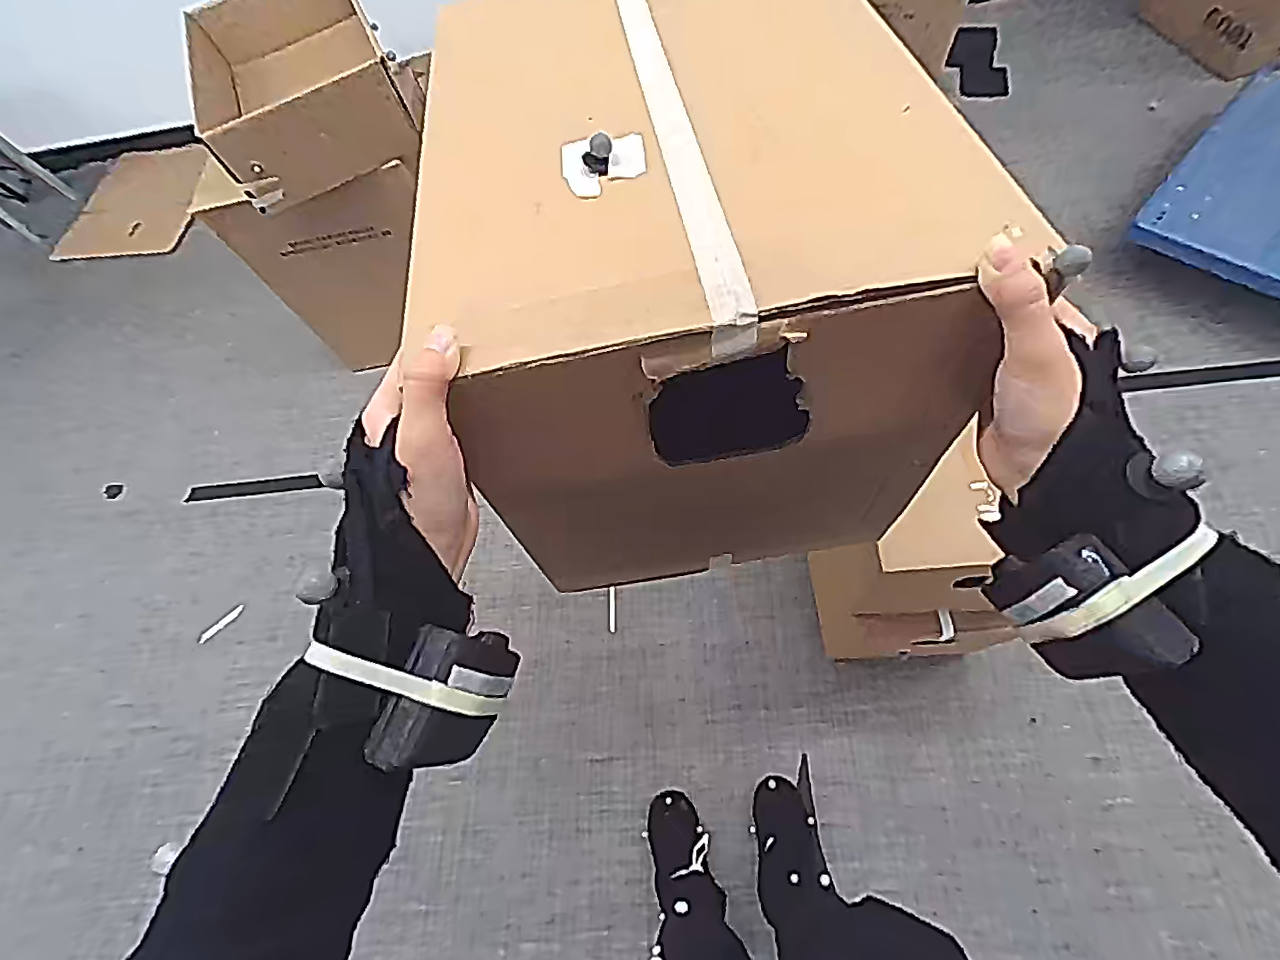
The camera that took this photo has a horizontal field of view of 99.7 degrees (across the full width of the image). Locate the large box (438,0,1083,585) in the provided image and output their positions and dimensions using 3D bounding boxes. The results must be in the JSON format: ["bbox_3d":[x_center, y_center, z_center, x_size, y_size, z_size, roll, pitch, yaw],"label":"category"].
[{"bbox_3d":[0.037,-0.166,0.475,0.320,0.320,0.408,-11,61,2],"label":"large box"}]
